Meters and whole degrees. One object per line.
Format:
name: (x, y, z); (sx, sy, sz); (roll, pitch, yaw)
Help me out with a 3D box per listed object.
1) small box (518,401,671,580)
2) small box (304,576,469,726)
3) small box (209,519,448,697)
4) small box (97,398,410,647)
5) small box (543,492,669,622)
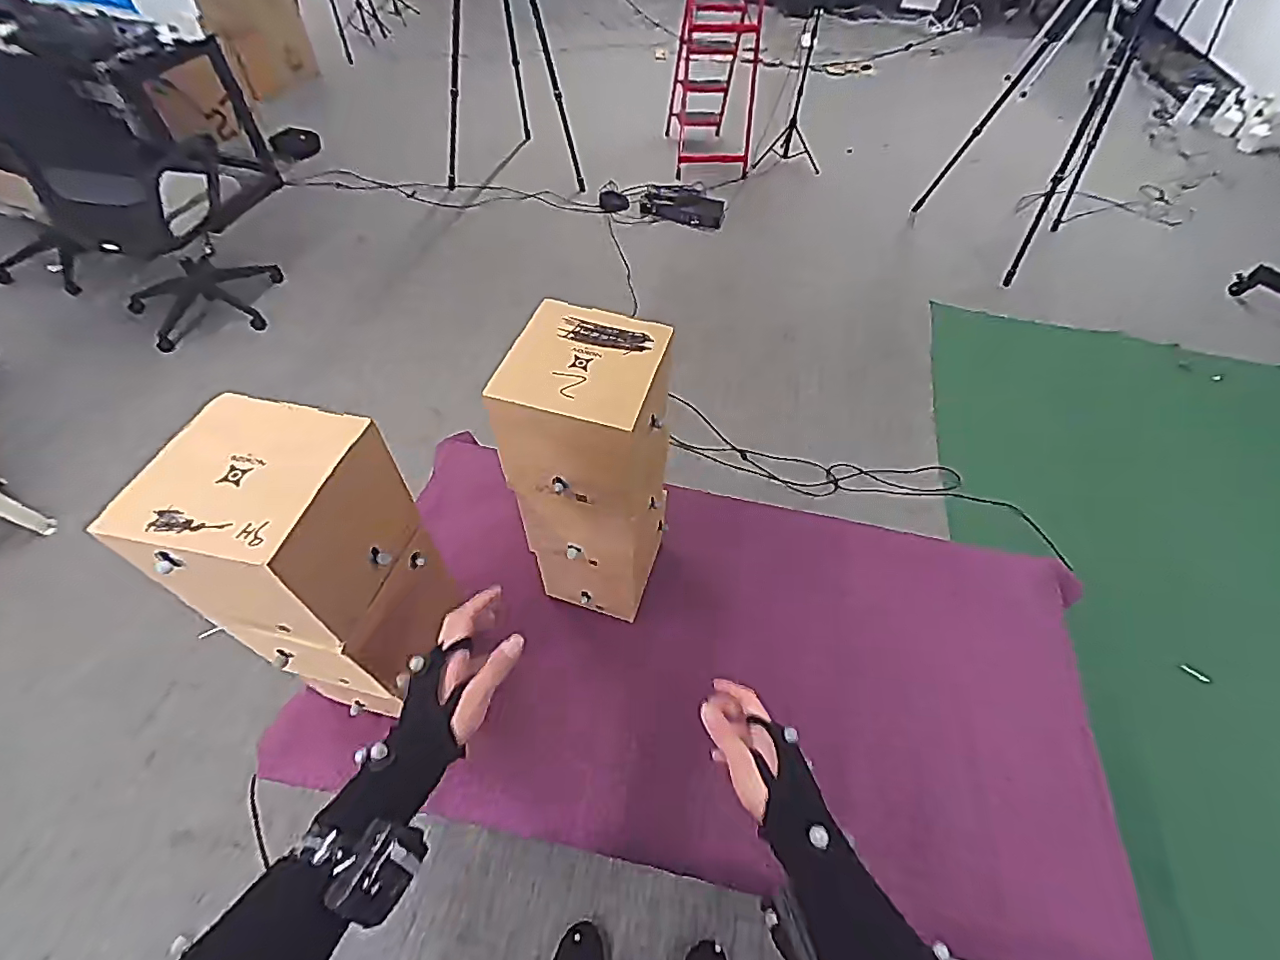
small box: (-0.061, 0.018, 0.793); (0.168, 0.176, 0.179); (14, 55, 8)
small box: (-0.375, 0.244, 0.815); (0.168, 0.176, 0.179); (12, 53, 7)
small box: (-0.367, 0.151, 0.682); (0.168, 0.176, 0.179); (12, 51, 8)
small box: (-0.362, 0.045, 0.557); (0.168, 0.176, 0.179); (10, 51, 6)
small box: (-0.059, 0.114, 0.927); (0.168, 0.176, 0.179); (16, 54, 10)
